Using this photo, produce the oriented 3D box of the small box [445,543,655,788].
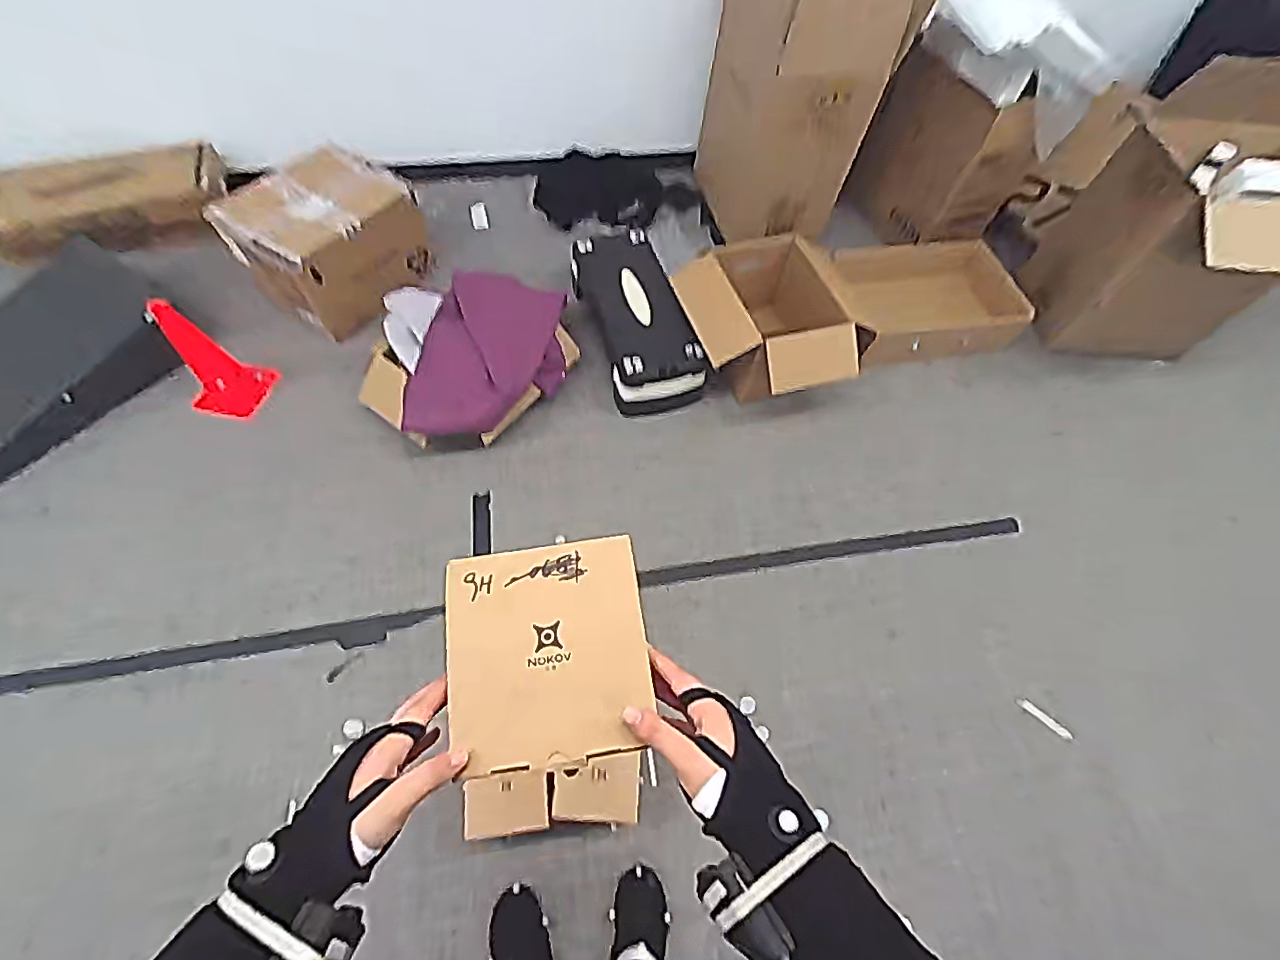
[{"bbox_3d":[-0.078,0.174,0.522,0.168,0.176,0.179,-8,69,-4],"label":"small box"}]
